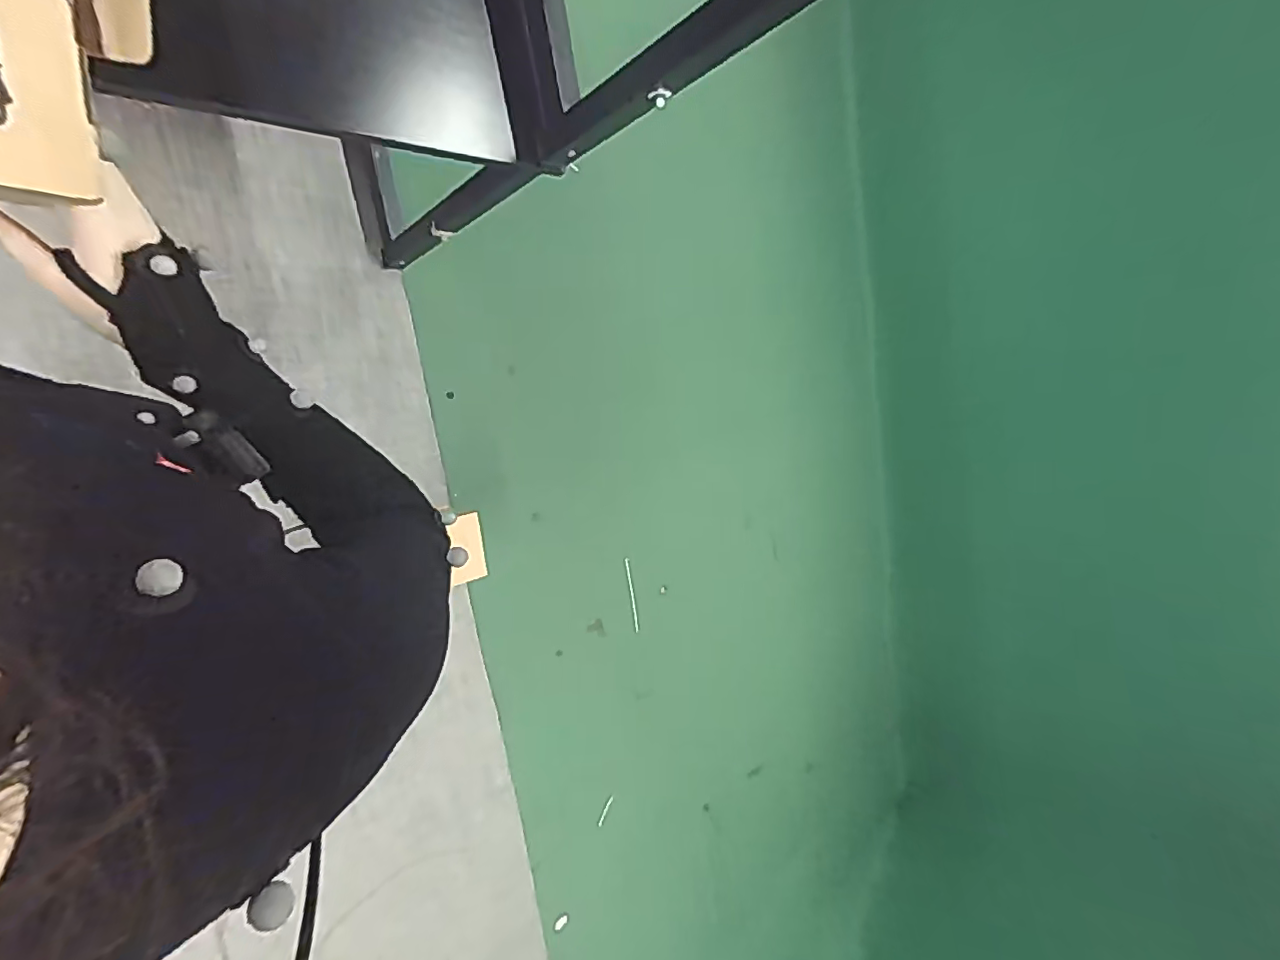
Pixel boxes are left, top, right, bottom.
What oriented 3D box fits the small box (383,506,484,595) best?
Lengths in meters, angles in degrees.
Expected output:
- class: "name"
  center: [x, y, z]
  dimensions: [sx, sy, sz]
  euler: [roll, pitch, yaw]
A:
- class: "small box"
  center: [-0.512, 0.165, 1.328]
  dimensions: [0.179, 0.176, 0.168]
  euler: [-16, 104, -44]
